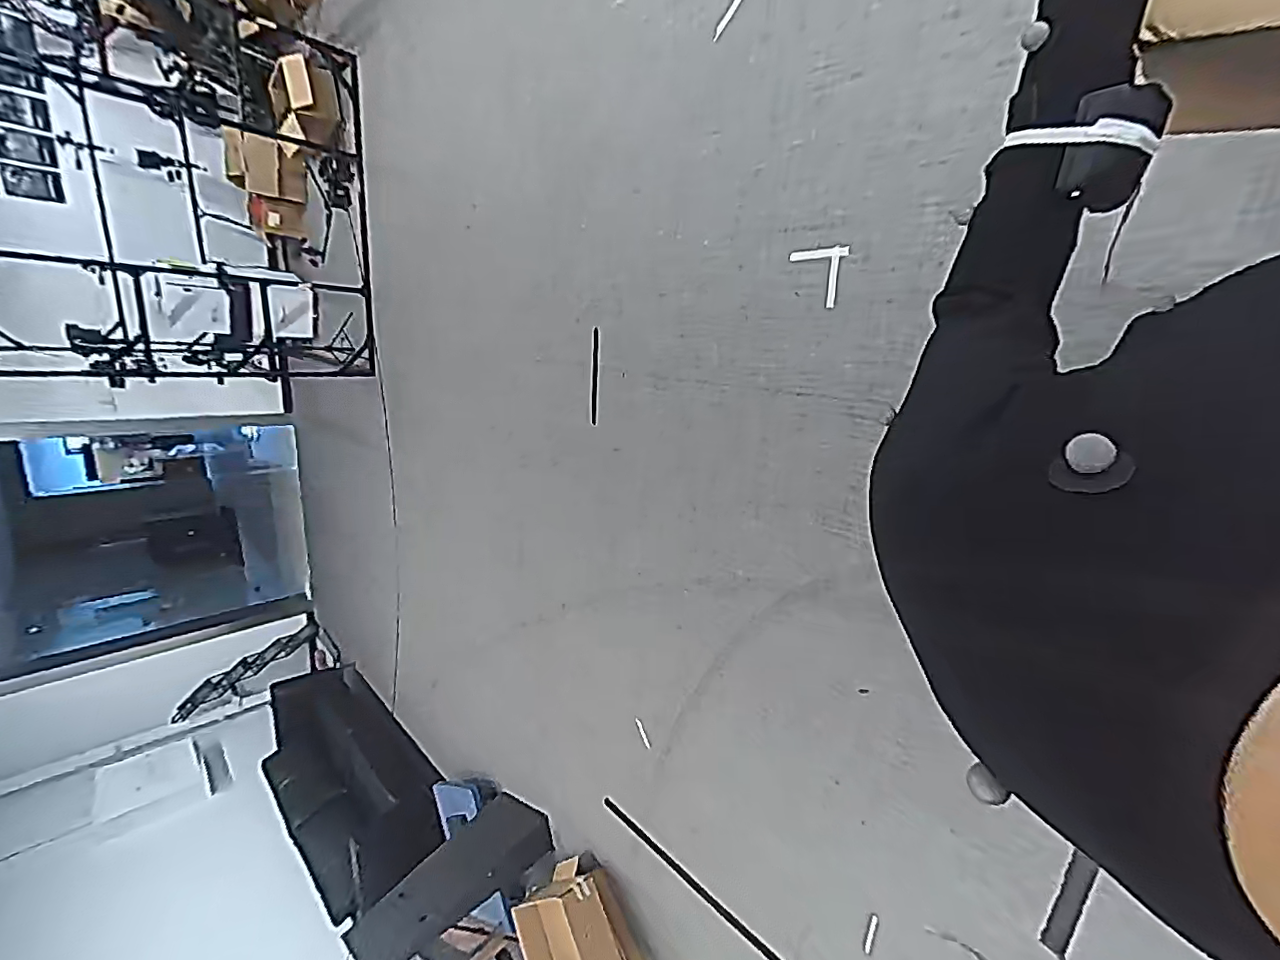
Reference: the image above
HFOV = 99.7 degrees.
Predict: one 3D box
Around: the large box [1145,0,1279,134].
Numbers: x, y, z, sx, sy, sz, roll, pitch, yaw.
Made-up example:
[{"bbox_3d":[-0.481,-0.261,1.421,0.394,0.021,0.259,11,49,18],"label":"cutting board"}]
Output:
[{"bbox_3d":[0.586,-0.408,0.285,0.408,0.320,0.320,23,120,38],"label":"large box"}]
